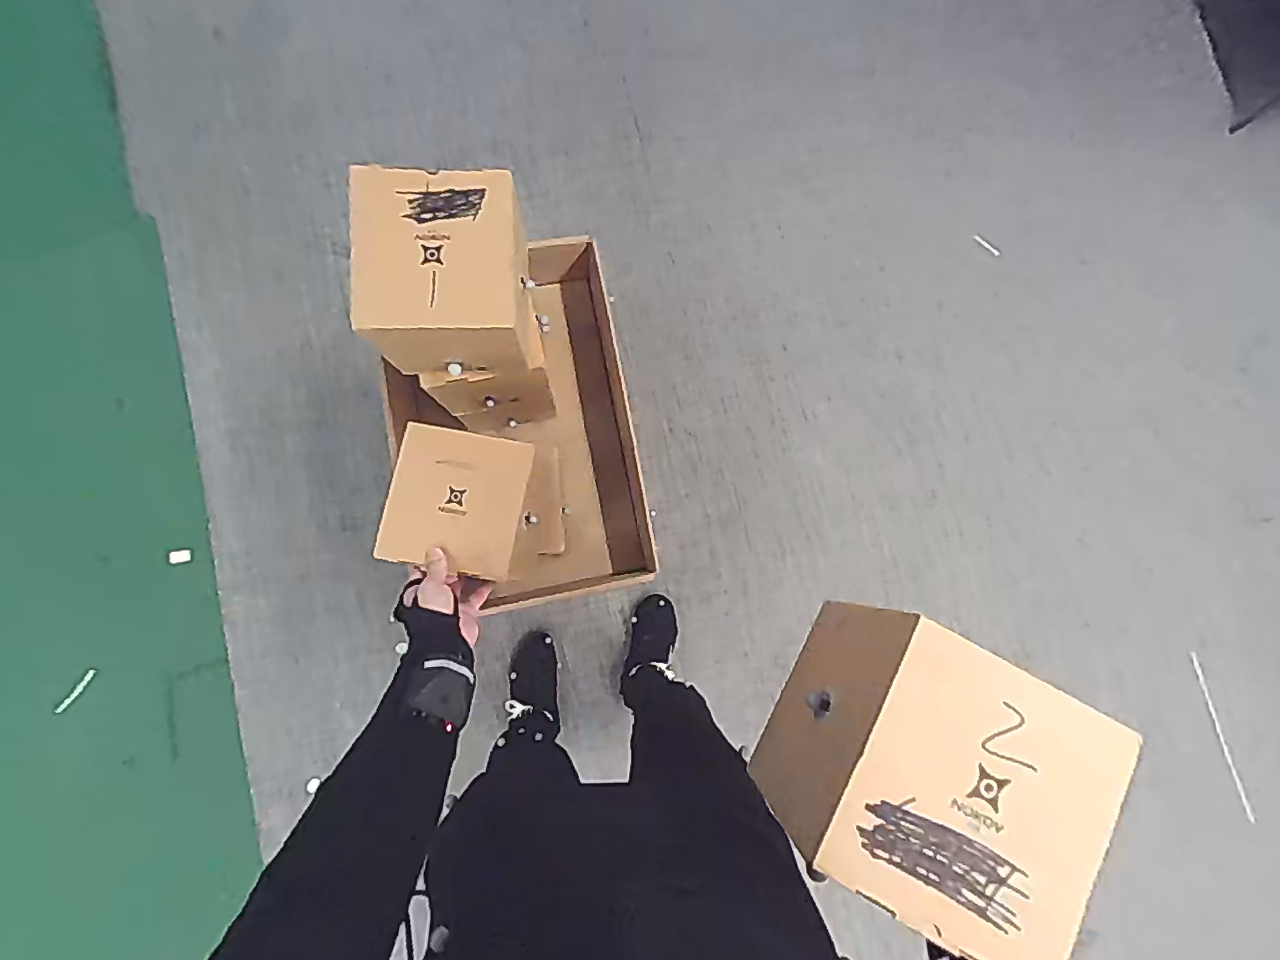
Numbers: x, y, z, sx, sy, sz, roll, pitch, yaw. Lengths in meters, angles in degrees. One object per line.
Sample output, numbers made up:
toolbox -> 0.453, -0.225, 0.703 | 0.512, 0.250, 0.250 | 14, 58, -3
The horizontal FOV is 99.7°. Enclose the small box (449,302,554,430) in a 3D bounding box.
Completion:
small box -> -0.251, -0.200, 0.967 | 0.168, 0.176, 0.179 | -11, 86, -6

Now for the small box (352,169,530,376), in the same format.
small box -> -0.222, -0.232, 0.643 | 0.168, 0.176, 0.179 | -2, 86, -6

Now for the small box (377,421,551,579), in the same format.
small box -> -0.227, 0.036, 0.747 | 0.168, 0.176, 0.179 | 10, 80, 1

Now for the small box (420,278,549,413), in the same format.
small box -> -0.234, -0.213, 0.806 | 0.168, 0.176, 0.179 | -12, 87, -7
